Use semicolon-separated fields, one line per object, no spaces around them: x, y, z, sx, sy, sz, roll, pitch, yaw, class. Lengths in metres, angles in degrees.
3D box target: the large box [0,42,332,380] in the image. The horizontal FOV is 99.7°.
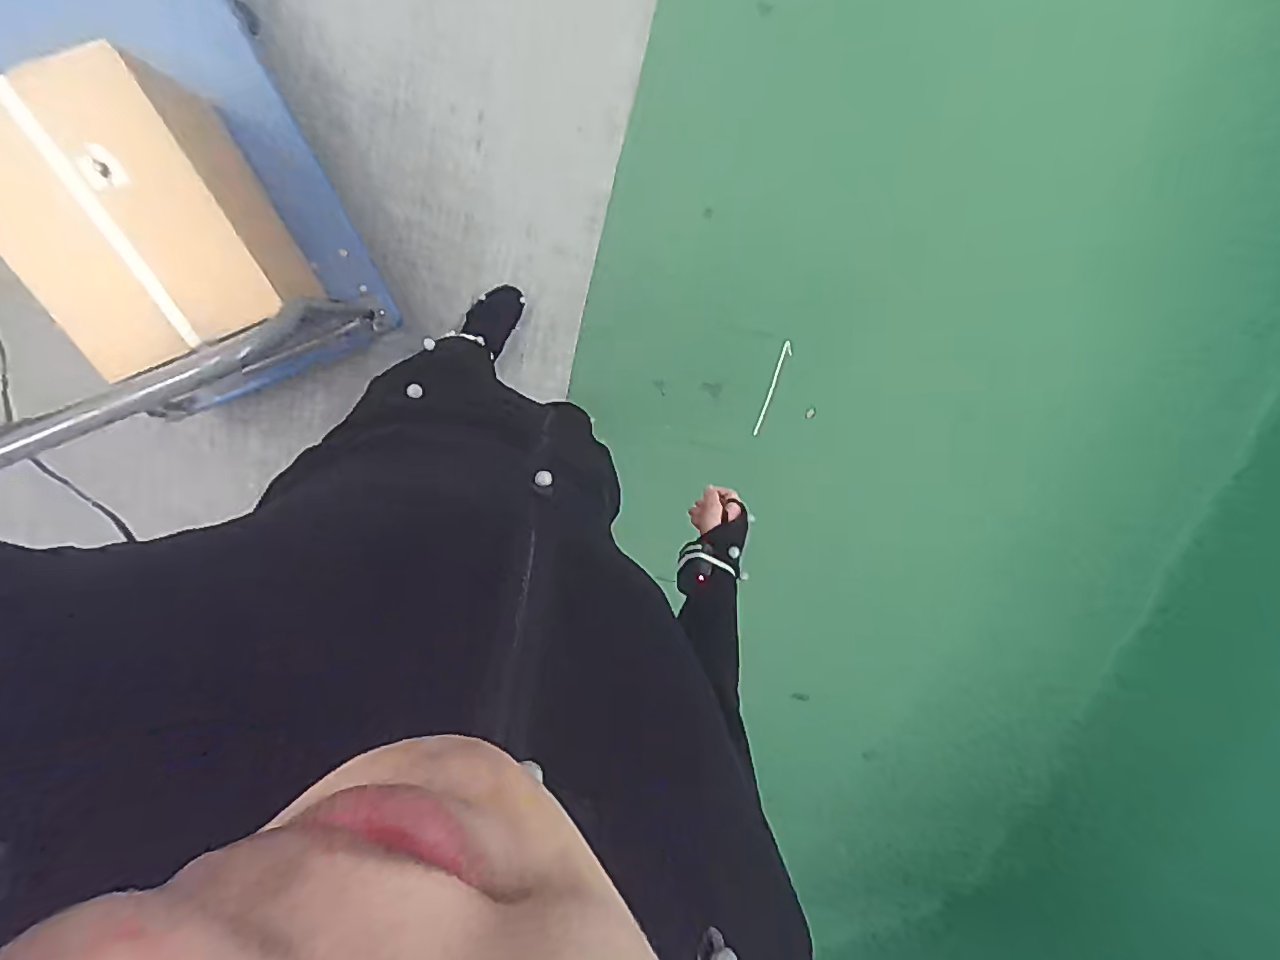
-0.848;-0.443;0.969;0.320;0.320;0.408;-26;114;-6;large box
